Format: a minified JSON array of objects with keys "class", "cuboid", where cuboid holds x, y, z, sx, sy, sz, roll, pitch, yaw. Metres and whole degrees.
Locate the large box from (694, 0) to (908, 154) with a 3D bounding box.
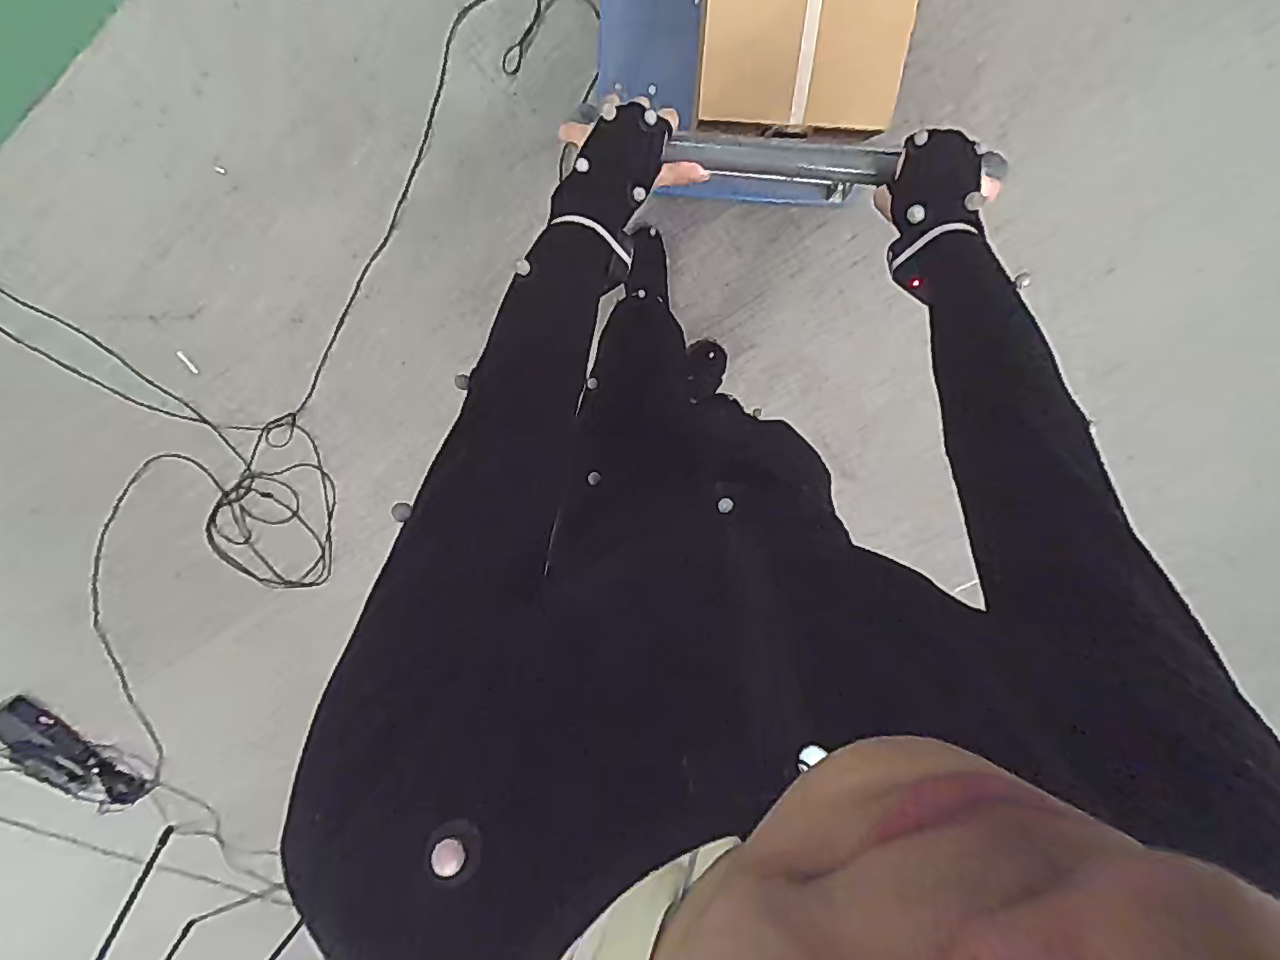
[{"class":"large box","cuboid":[0.264,-0.824,0.947,0.320,0.320,0.408,4,114,1]}]
